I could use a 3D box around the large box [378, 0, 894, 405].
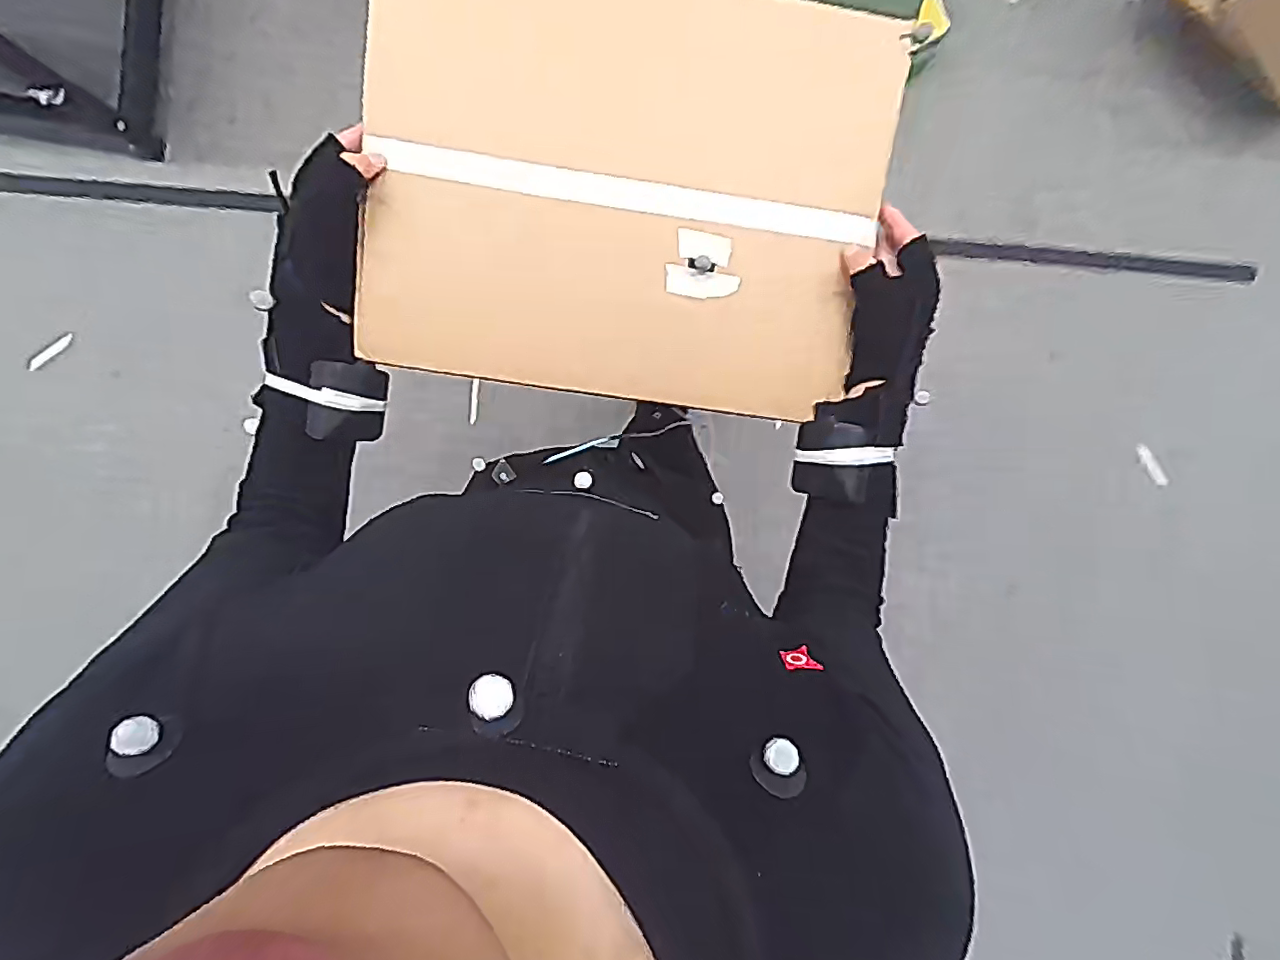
[{"bbox_3d":[-0.018,-0.261,0.589,0.408,0.320,0.320,7,100,-5],"label":"large box"}]
